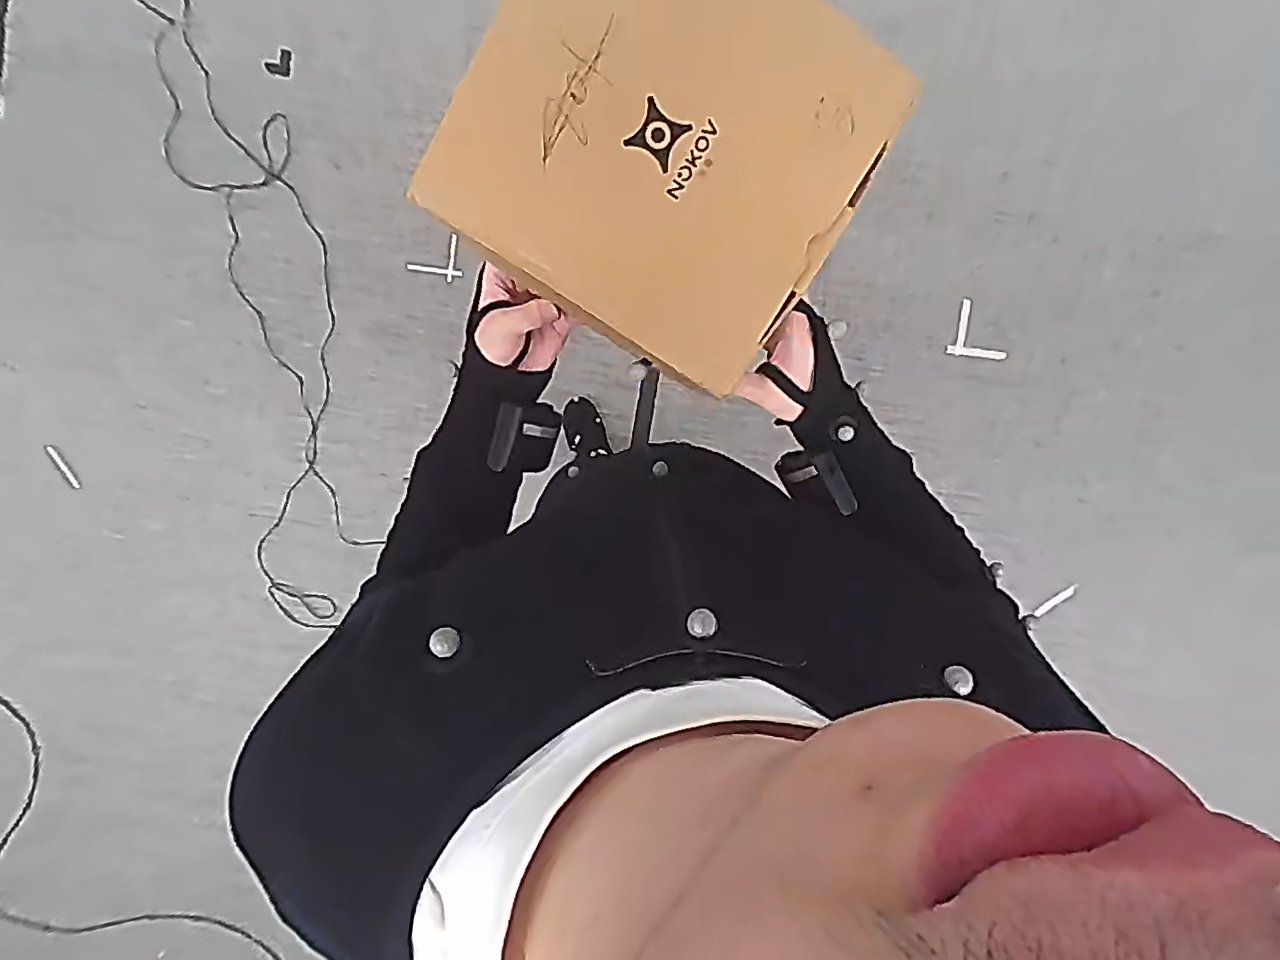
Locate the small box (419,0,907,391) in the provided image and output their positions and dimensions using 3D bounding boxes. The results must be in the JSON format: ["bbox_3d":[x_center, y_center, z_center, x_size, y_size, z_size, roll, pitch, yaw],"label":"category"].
[{"bbox_3d":[0.009,-0.172,0.329,0.179,0.176,0.168,30,99,-7],"label":"small box"}]
